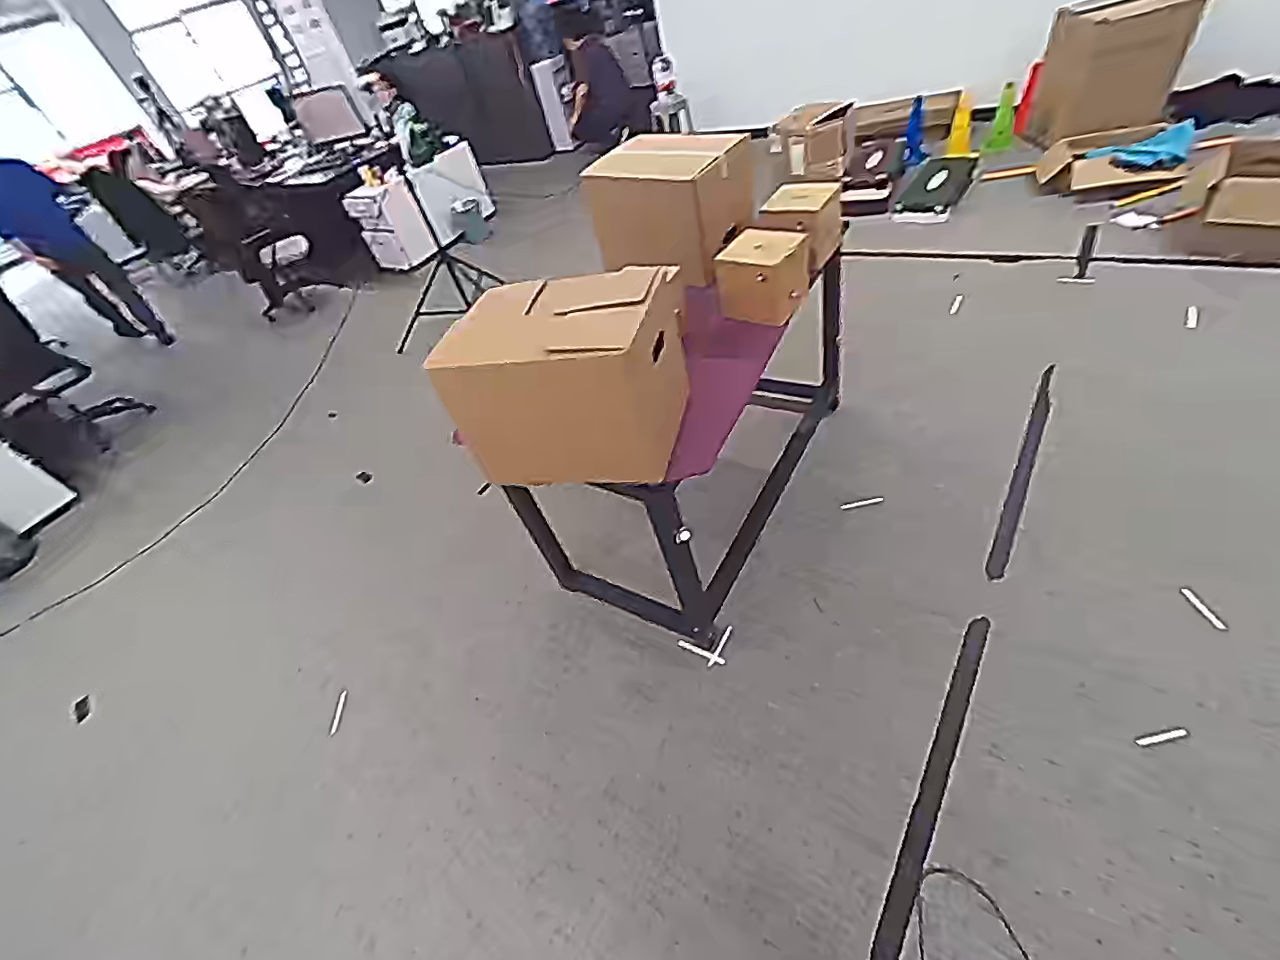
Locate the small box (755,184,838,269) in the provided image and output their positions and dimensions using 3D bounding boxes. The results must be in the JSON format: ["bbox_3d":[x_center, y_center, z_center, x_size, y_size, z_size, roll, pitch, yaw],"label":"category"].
[{"bbox_3d":[0.452,-0.721,1.544,0.179,0.176,0.168,18,55,34],"label":"small box"}]

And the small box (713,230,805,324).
[{"bbox_3d":[0.312,-0.527,1.406,0.179,0.176,0.168,22,57,33],"label":"small box"}]
